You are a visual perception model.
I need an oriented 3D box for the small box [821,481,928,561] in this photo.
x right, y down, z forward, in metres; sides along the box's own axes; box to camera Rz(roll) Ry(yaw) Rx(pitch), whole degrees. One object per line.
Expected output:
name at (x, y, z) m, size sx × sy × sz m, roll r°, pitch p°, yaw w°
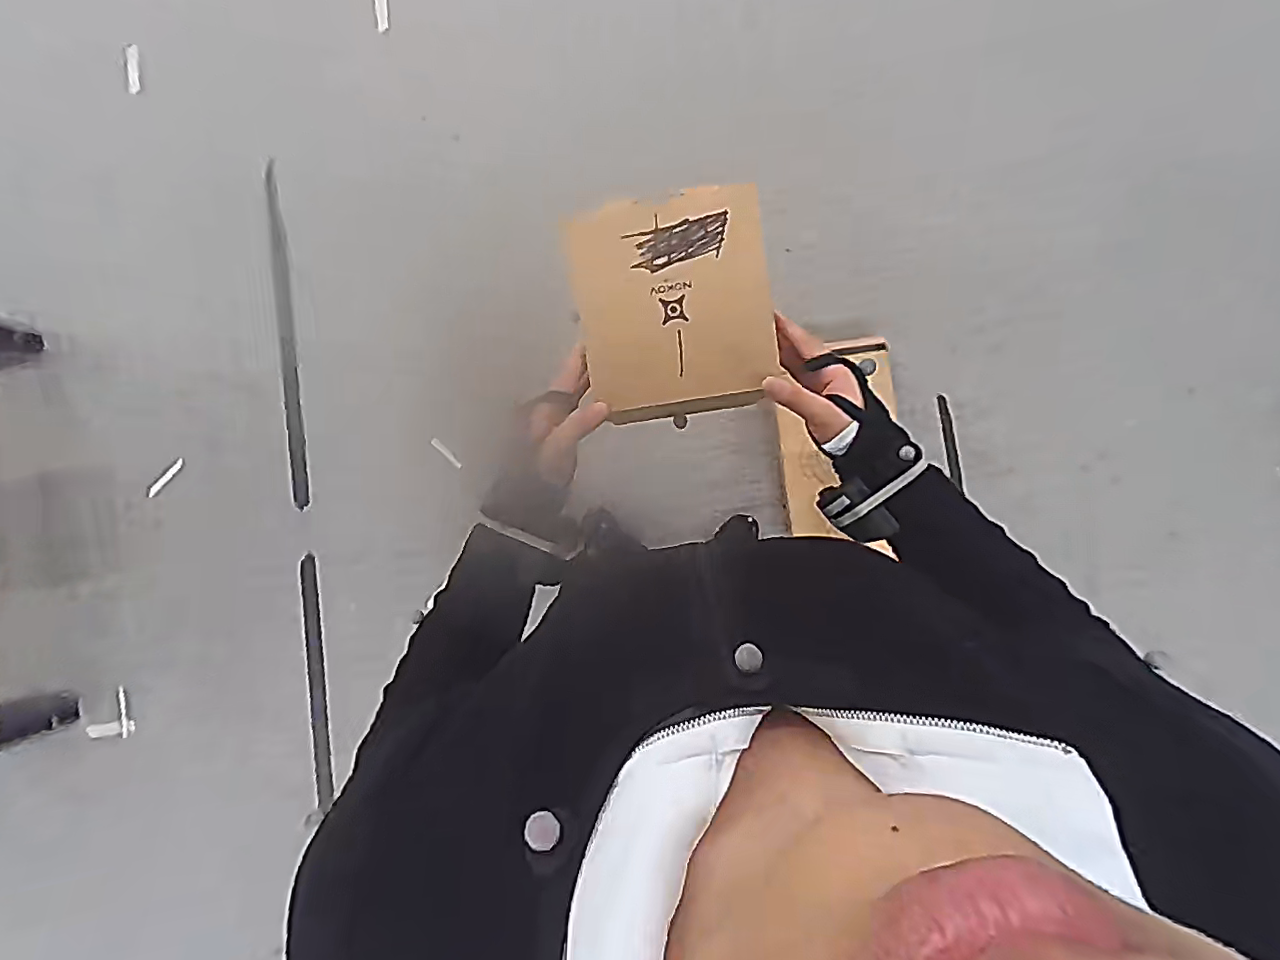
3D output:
small box at (0.549, 0.093, 1.285) m, size 0.179 × 0.176 × 0.168 m, roll -8°, pitch 87°, yaw 3°

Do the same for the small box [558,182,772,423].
small box at (0.025, -0.159, 0.544) m, size 0.168 × 0.176 × 0.179 m, roll -9°, pitch 93°, yaw 4°
